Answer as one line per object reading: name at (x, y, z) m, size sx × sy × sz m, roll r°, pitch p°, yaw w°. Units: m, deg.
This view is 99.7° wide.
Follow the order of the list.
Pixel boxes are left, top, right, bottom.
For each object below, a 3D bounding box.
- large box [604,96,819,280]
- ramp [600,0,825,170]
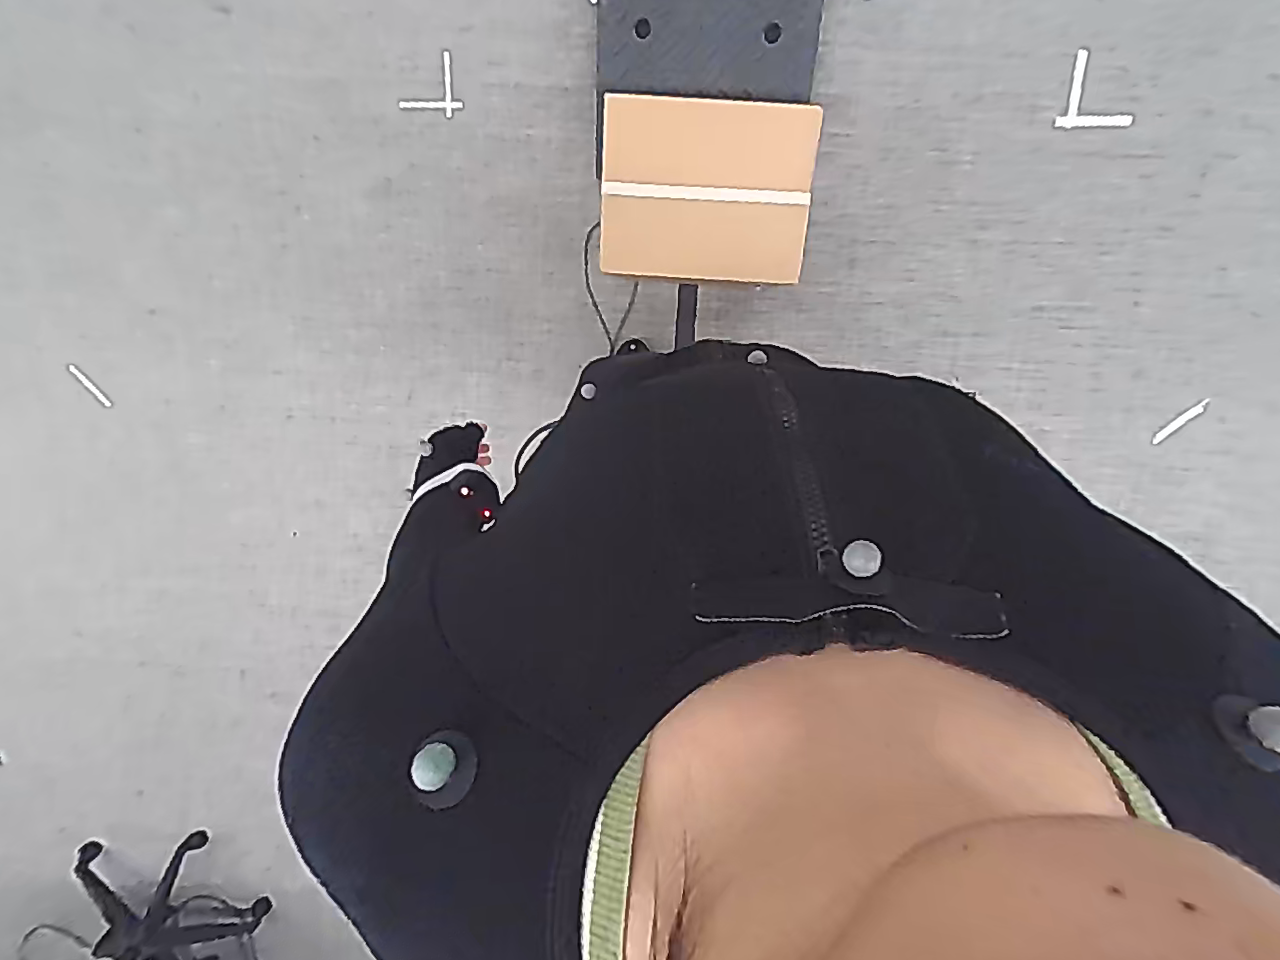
large box at (0.137, -0.611, 1.192) m, size 0.408 × 0.320 × 0.320 m, roll 4°, pitch 108°, yaw 1°
ramp at (0.164, -1.195, 1.107) m, size 0.509 × 0.206 × 0.991 m, roll 1°, pitch 105°, yaw 0°
